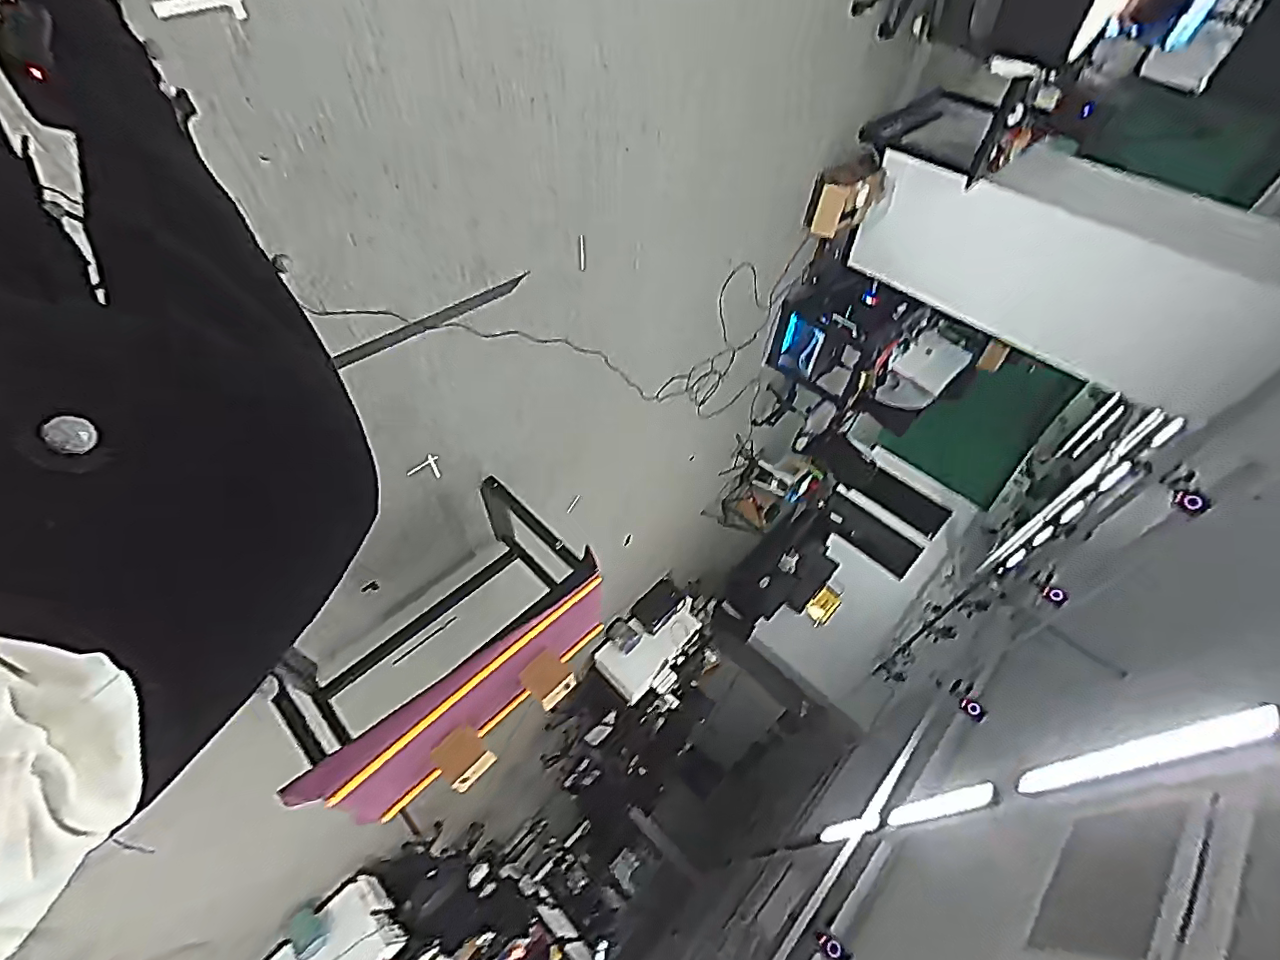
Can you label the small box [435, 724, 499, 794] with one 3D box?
[{"bbox_3d":[-0.710,1.136,2.202,0.179,0.176,0.168,-40,152,-25],"label":"small box"}]
